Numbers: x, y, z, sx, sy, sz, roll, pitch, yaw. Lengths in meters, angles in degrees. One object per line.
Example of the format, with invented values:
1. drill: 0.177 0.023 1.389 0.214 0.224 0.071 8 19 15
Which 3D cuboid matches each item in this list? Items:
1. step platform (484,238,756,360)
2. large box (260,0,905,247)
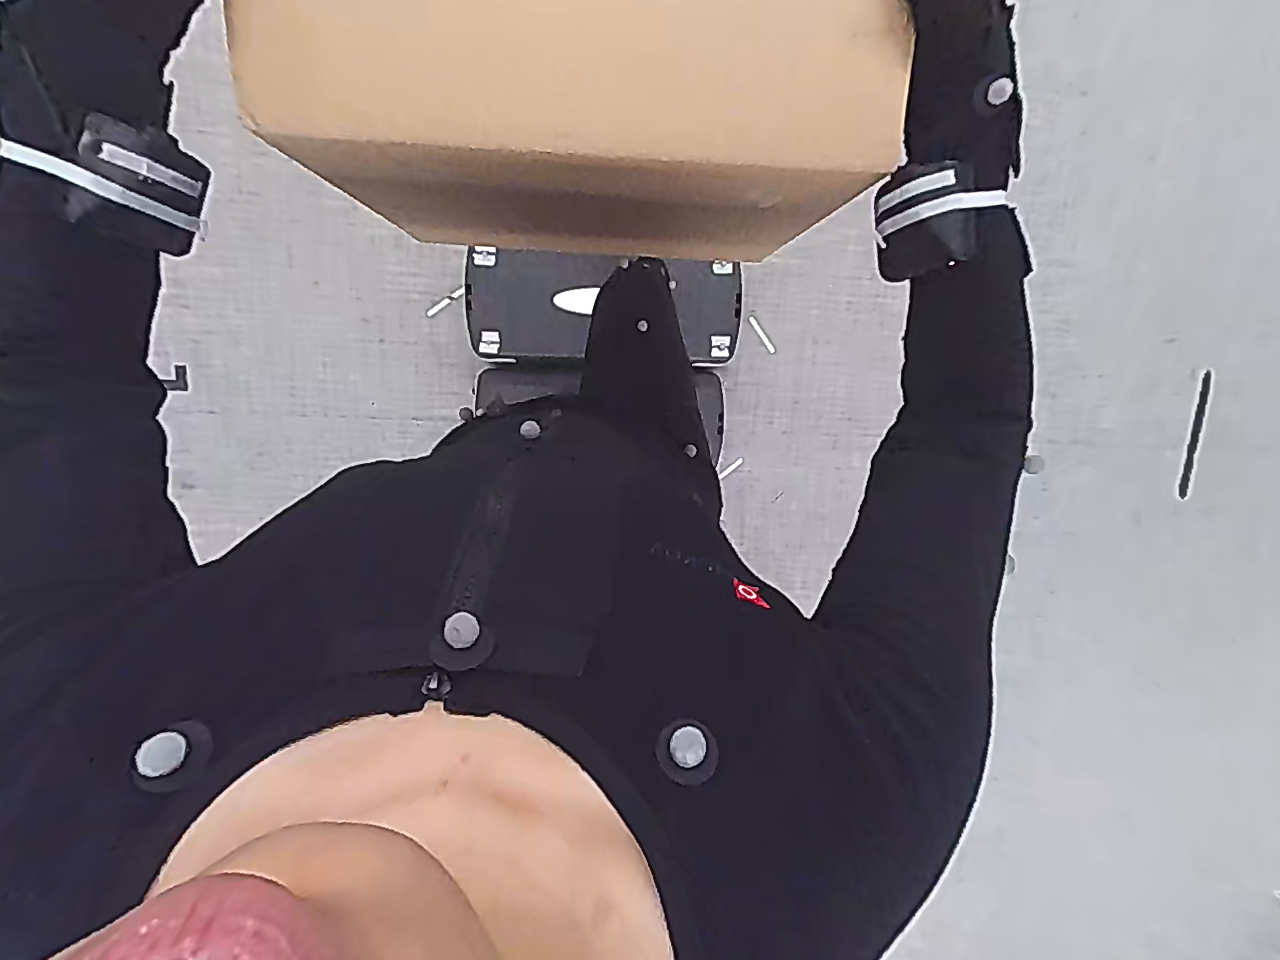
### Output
1. step platform: -0.049 -0.461 1.393 0.684 0.204 0.286 0 101 -5
2. large box: -0.038 -0.399 0.463 0.408 0.320 0.320 1 103 -5
